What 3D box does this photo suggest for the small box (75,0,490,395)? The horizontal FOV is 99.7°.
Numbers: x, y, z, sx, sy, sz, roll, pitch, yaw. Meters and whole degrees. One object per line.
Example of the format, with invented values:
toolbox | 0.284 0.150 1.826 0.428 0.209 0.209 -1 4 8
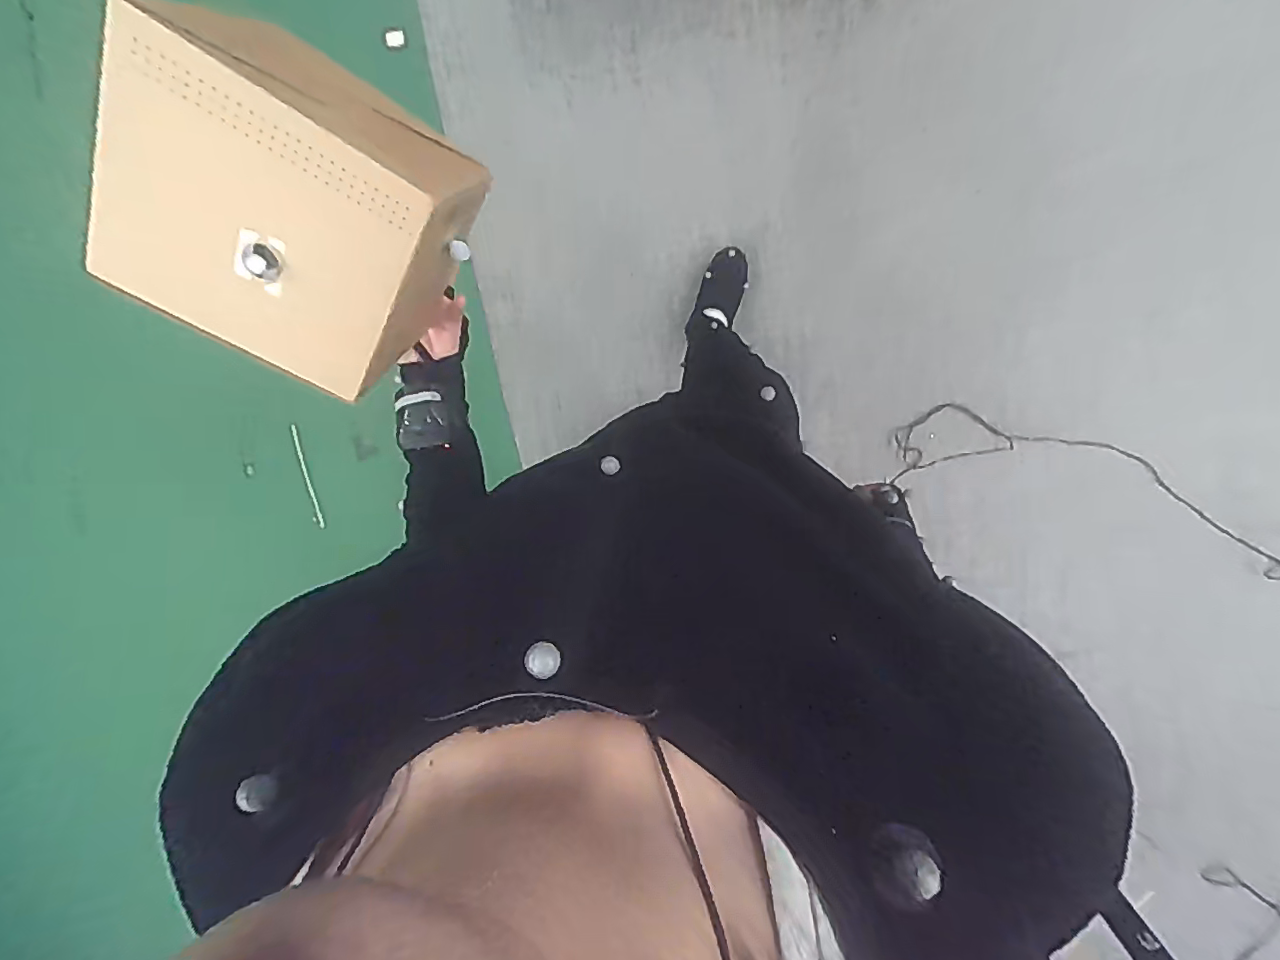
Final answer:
small box | -0.236 -0.200 0.392 0.179 0.168 0.176 28 119 -18
